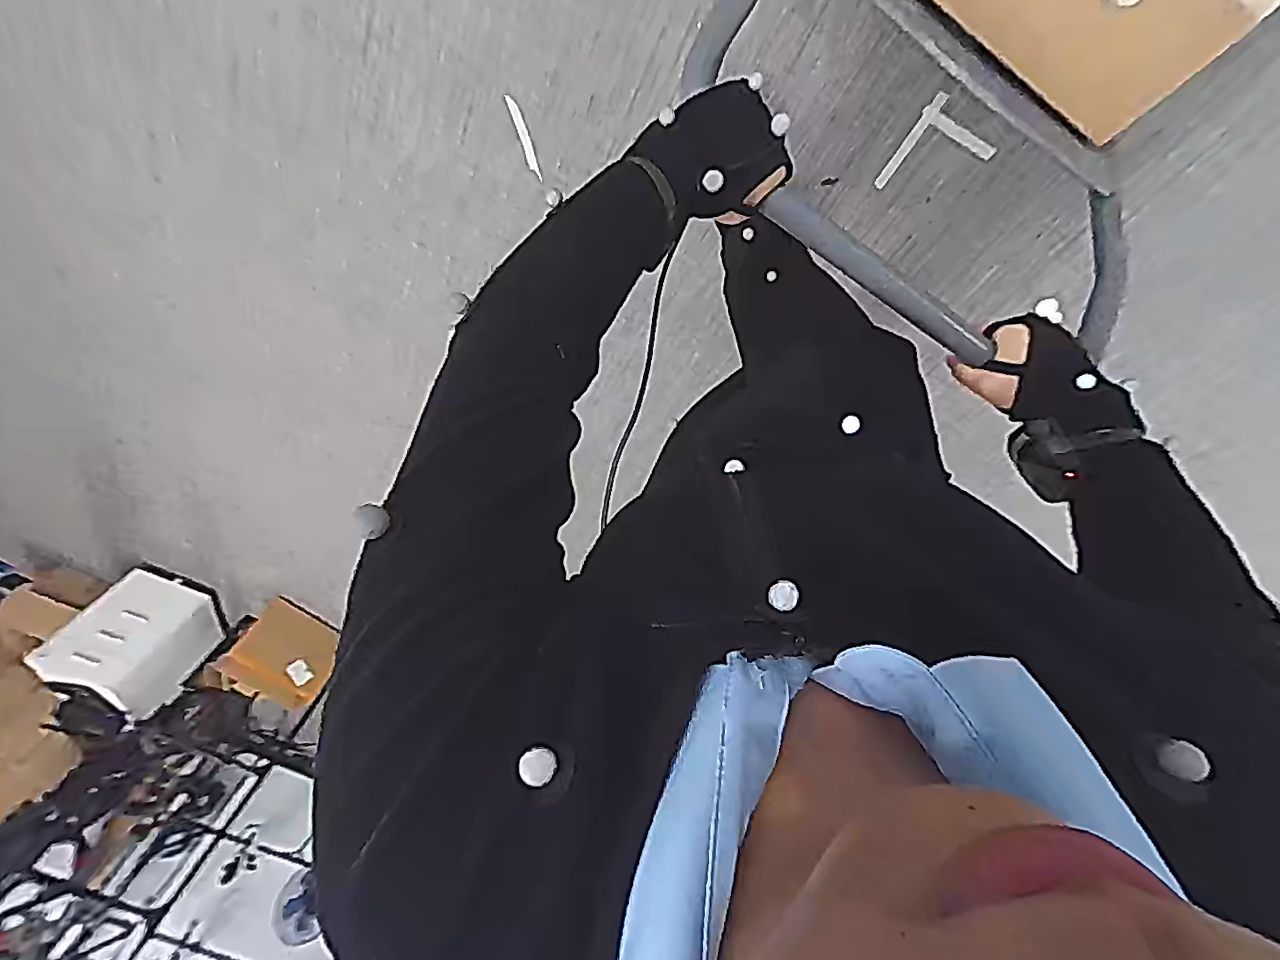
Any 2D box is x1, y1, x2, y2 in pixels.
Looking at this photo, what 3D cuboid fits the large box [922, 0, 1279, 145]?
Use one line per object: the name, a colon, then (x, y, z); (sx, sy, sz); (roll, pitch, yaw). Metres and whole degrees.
large box: (0.496, -0.670, 0.566); (0.408, 0.320, 0.320); (29, 149, -11)
